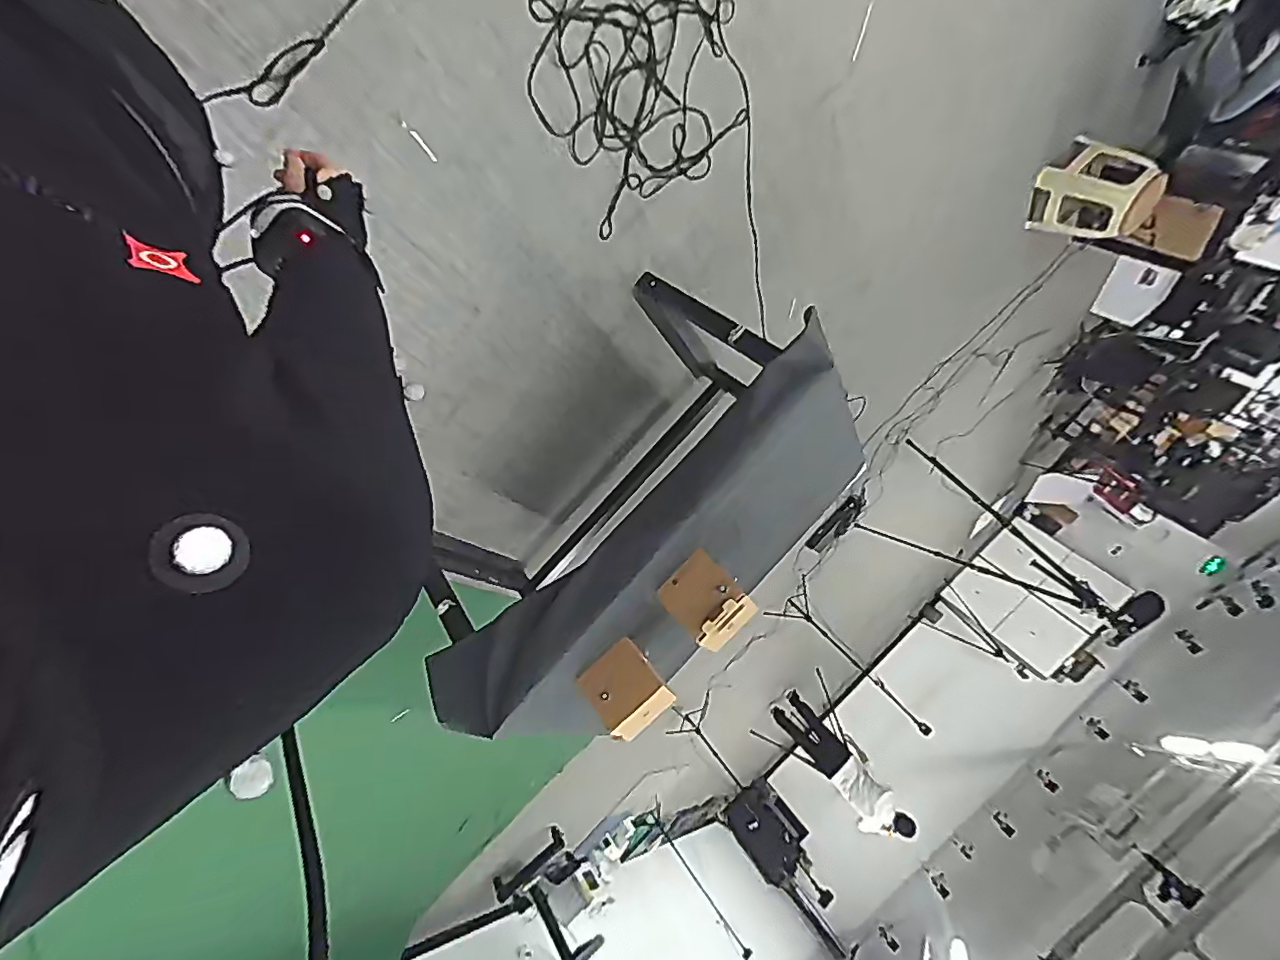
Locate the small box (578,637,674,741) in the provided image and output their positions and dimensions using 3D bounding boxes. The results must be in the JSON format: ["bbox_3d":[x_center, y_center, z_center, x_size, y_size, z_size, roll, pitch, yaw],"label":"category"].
[{"bbox_3d":[-0.042,0.551,1.427,0.179,0.176,0.168,-40,146,-9],"label":"small box"}]
